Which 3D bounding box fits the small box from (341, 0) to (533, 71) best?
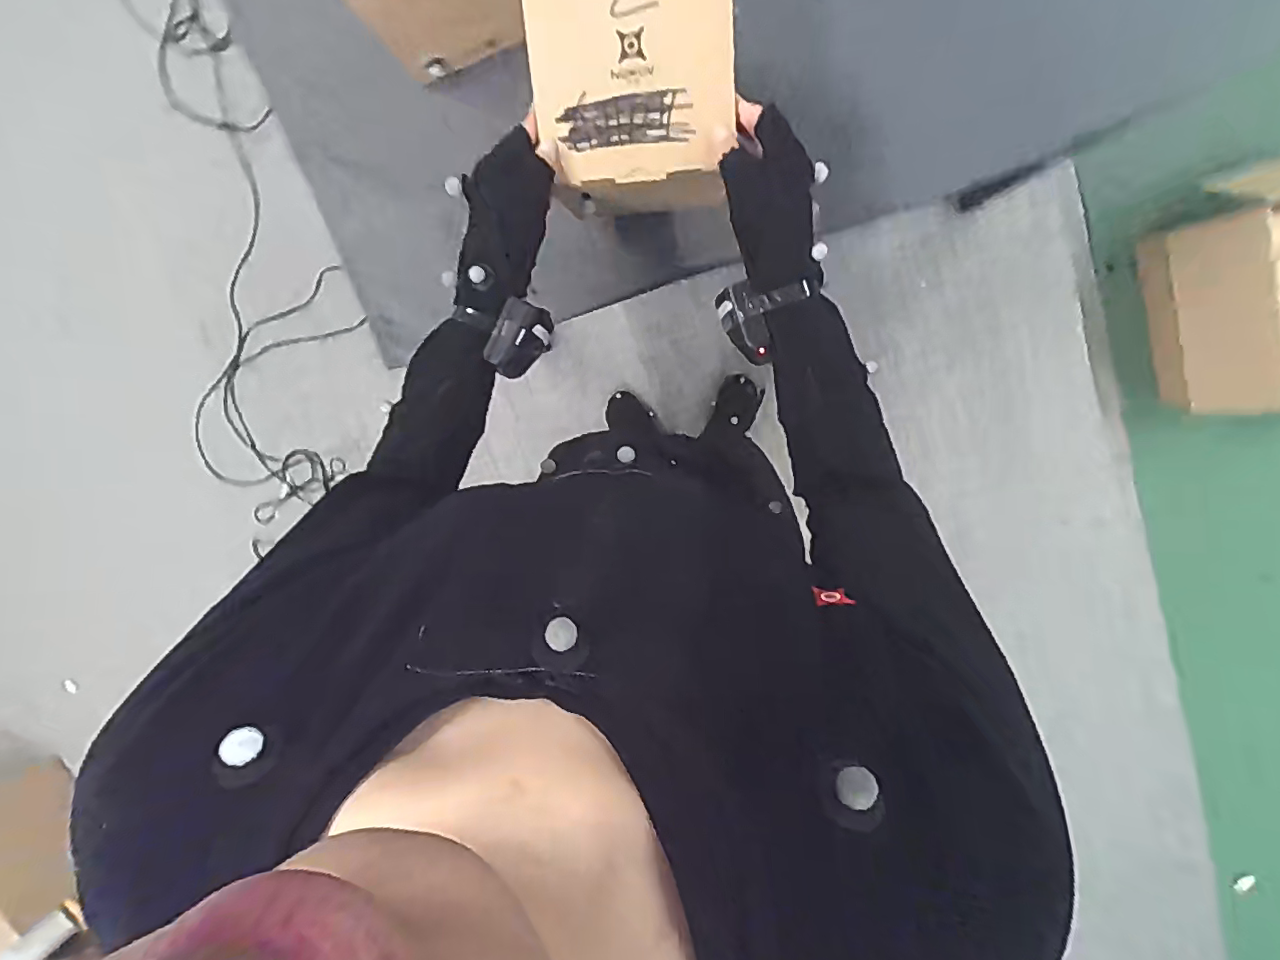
[{"bbox_3d":[-0.229,-0.570,0.558,0.168,0.176,0.179,-19,99,6],"label":"small box"}]
